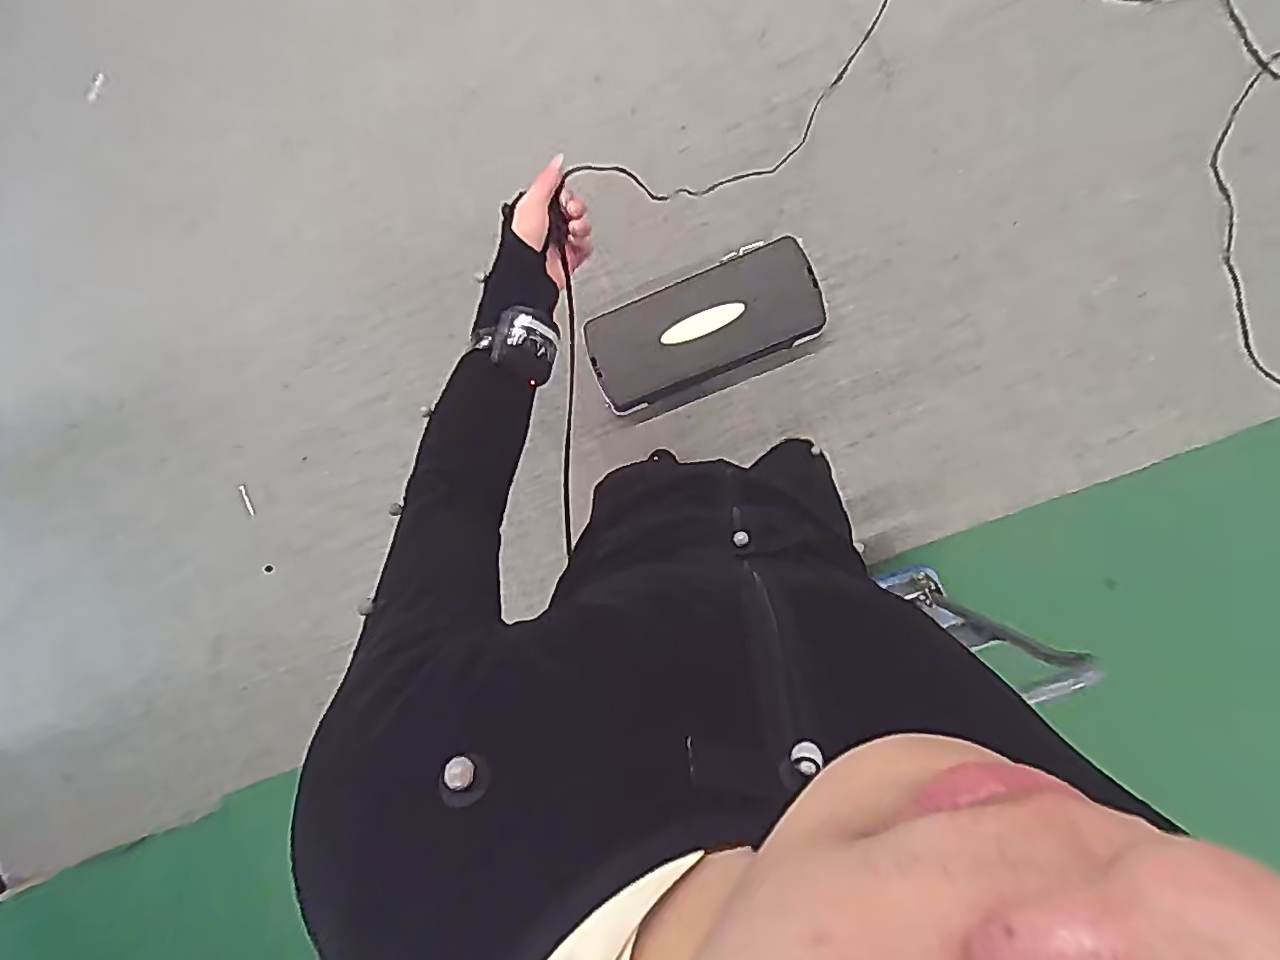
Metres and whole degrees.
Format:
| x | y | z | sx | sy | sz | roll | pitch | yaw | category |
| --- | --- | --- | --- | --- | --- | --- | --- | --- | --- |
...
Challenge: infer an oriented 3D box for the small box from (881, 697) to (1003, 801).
| x | y | z | sx | sy | sz | roll | pitch | yaw | category |
| --- | --- | --- | --- | --- | --- | --- | --- | --- | --- |
| 0.726 | 0.628 | 1.324 | 0.168 | 0.176 | 0.179 | -33 | 90 | 6 | small box |
